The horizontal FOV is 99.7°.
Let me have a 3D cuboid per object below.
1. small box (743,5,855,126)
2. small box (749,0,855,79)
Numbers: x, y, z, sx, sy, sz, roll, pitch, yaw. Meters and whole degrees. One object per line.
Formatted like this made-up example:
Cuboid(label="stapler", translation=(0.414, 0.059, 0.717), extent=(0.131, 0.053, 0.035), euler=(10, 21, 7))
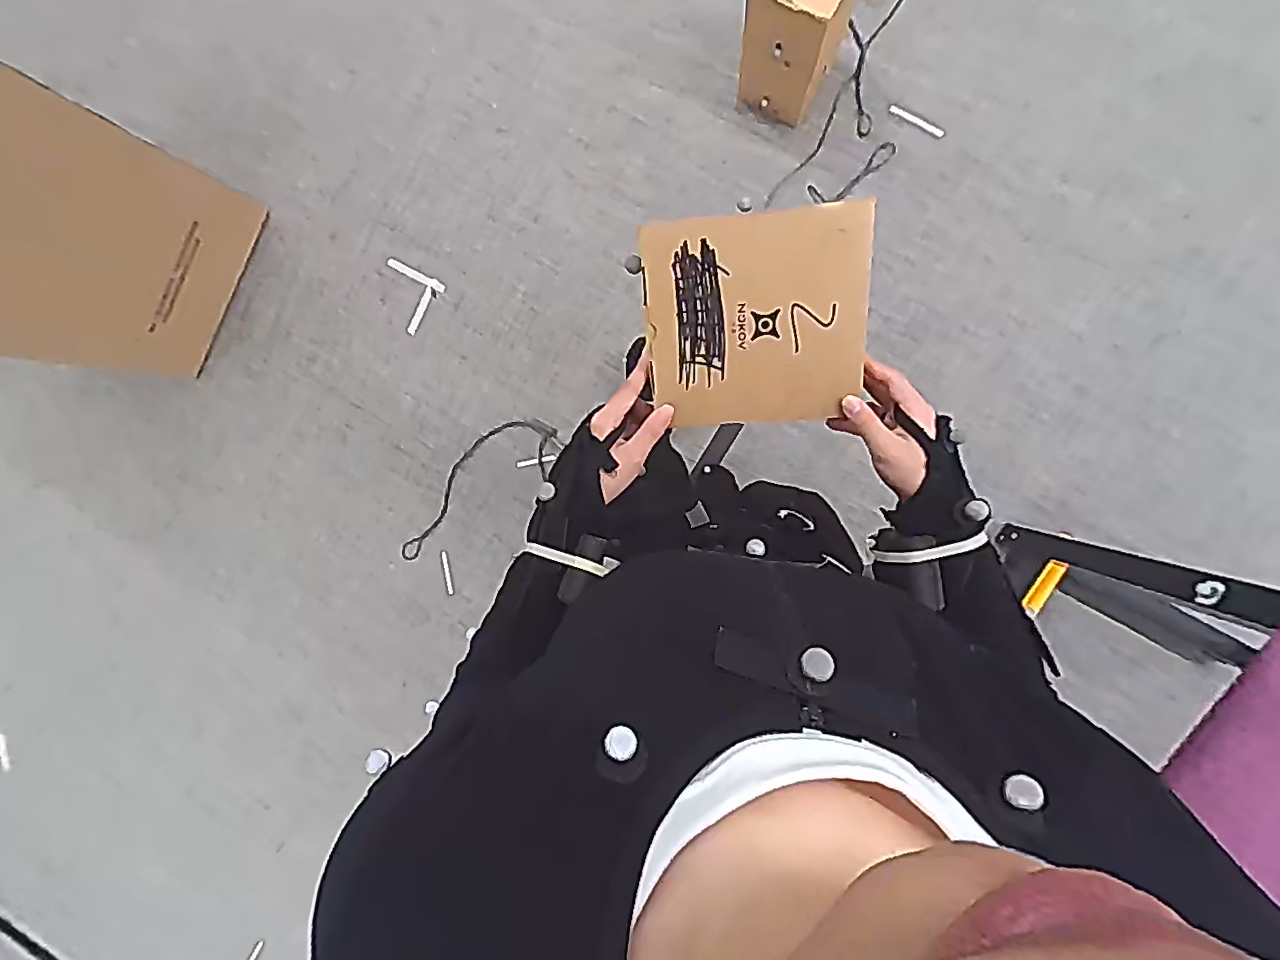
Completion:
Cuboid(label="small box", translation=(0.339, -0.945, 1.200), extent=(0.168, 0.176, 0.179), euler=(30, 97, 4))
Cuboid(label="small box", translation=(0.320, -0.934, 1.037), extent=(0.168, 0.176, 0.179), euler=(29, 97, 5))
